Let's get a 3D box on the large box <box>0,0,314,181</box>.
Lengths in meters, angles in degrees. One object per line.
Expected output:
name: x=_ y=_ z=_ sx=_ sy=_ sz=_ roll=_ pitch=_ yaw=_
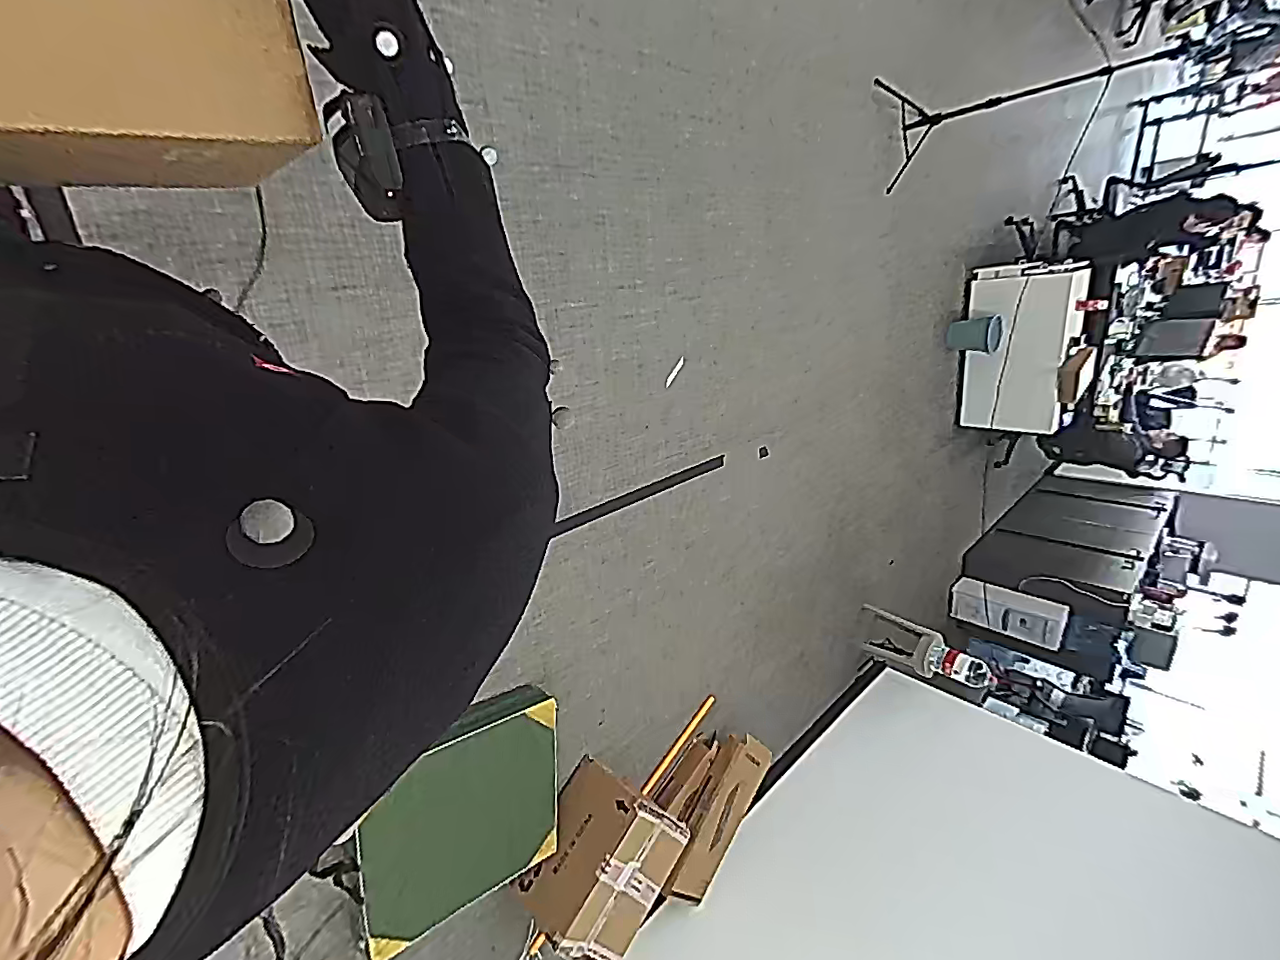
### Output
large box: x=-0.480 y=-0.353 z=0.298 sx=0.408 sy=0.320 sz=0.320 roll=-23 pitch=122 yaw=-36
